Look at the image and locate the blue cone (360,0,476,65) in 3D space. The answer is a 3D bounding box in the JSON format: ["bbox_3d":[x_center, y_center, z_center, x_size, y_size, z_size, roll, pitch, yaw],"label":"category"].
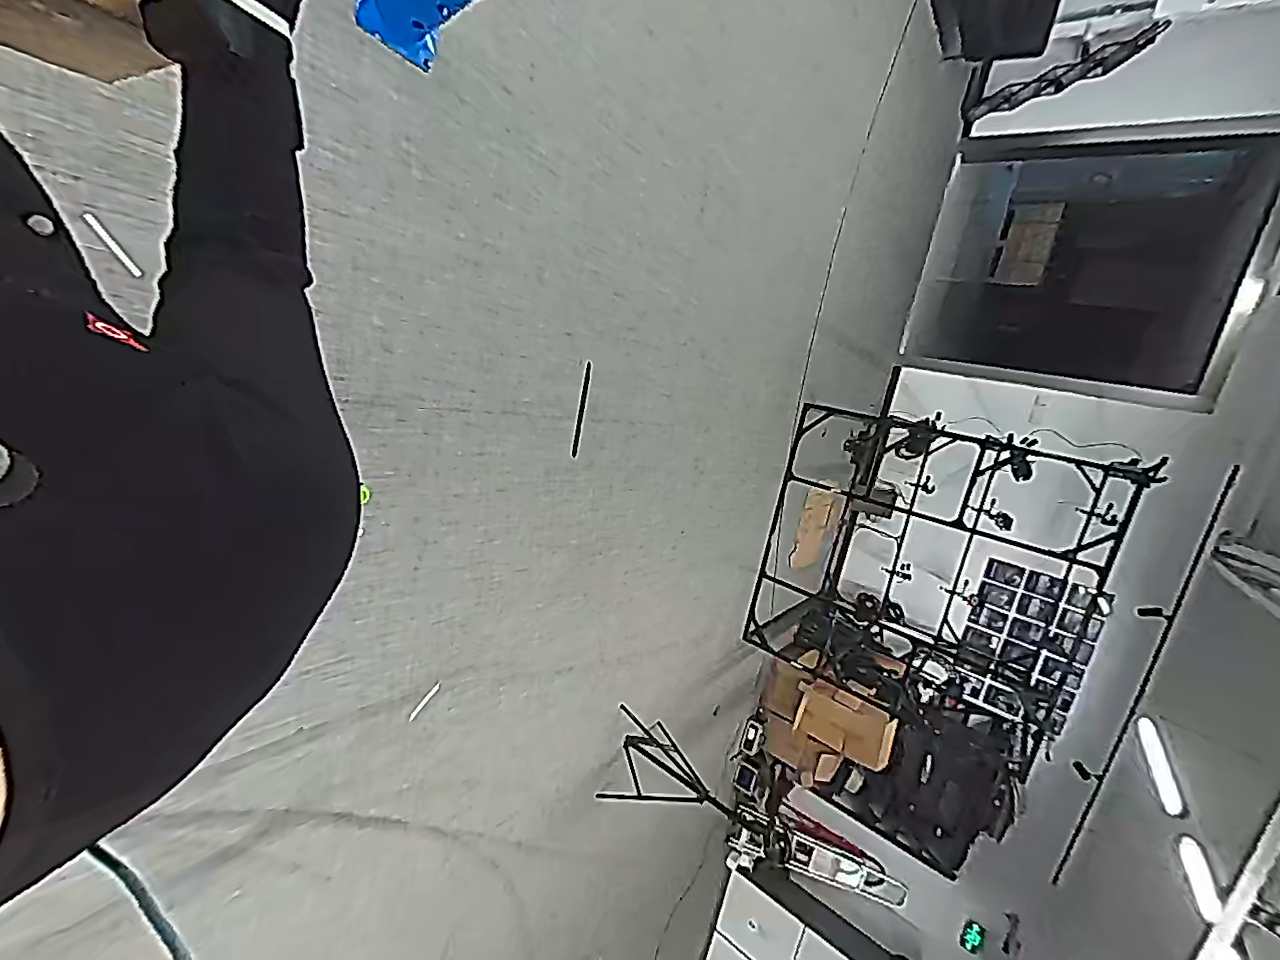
[{"bbox_3d":[-0.444,-1.099,1.209,0.192,0.380,0.193,2,105,-56],"label":"blue cone"}]

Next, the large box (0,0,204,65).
[{"bbox_3d":[-0.513,-0.488,0.265,0.408,0.320,0.320,-8,117,-53],"label":"large box"}]
